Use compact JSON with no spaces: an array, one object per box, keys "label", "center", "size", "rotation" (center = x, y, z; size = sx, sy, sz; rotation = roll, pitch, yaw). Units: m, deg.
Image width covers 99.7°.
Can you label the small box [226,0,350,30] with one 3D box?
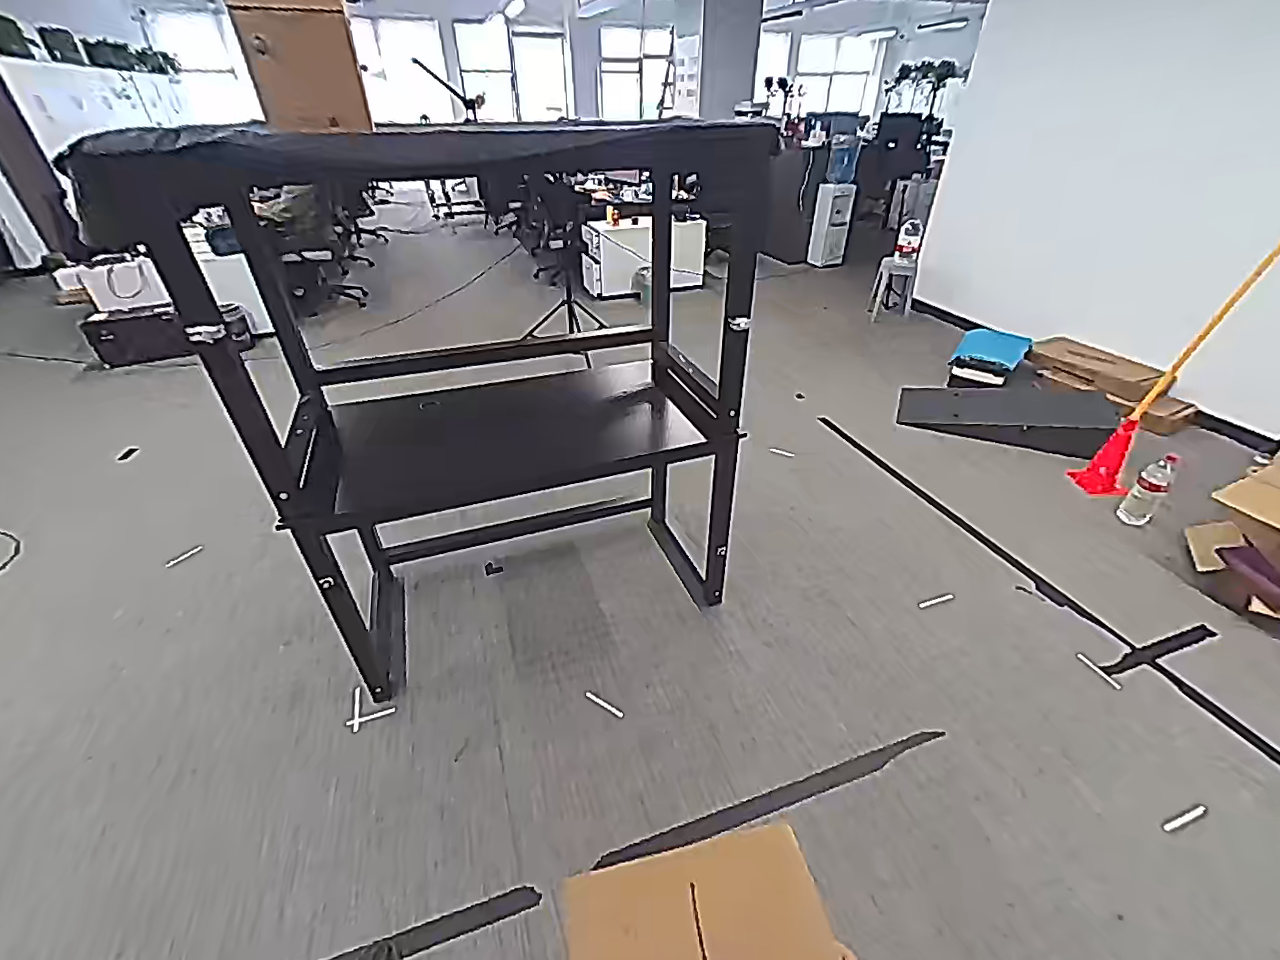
[{"label":"small box","center":[-0.577,-0.834,0.856],"size":[0.168,0.176,0.179],"rotation":[-12,35,-16]}]

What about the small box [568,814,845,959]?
[{"label":"small box","center":[0.048,0.368,0.371],"size":[0.168,0.176,0.179],"rotation":[-9,42,-9]}]
